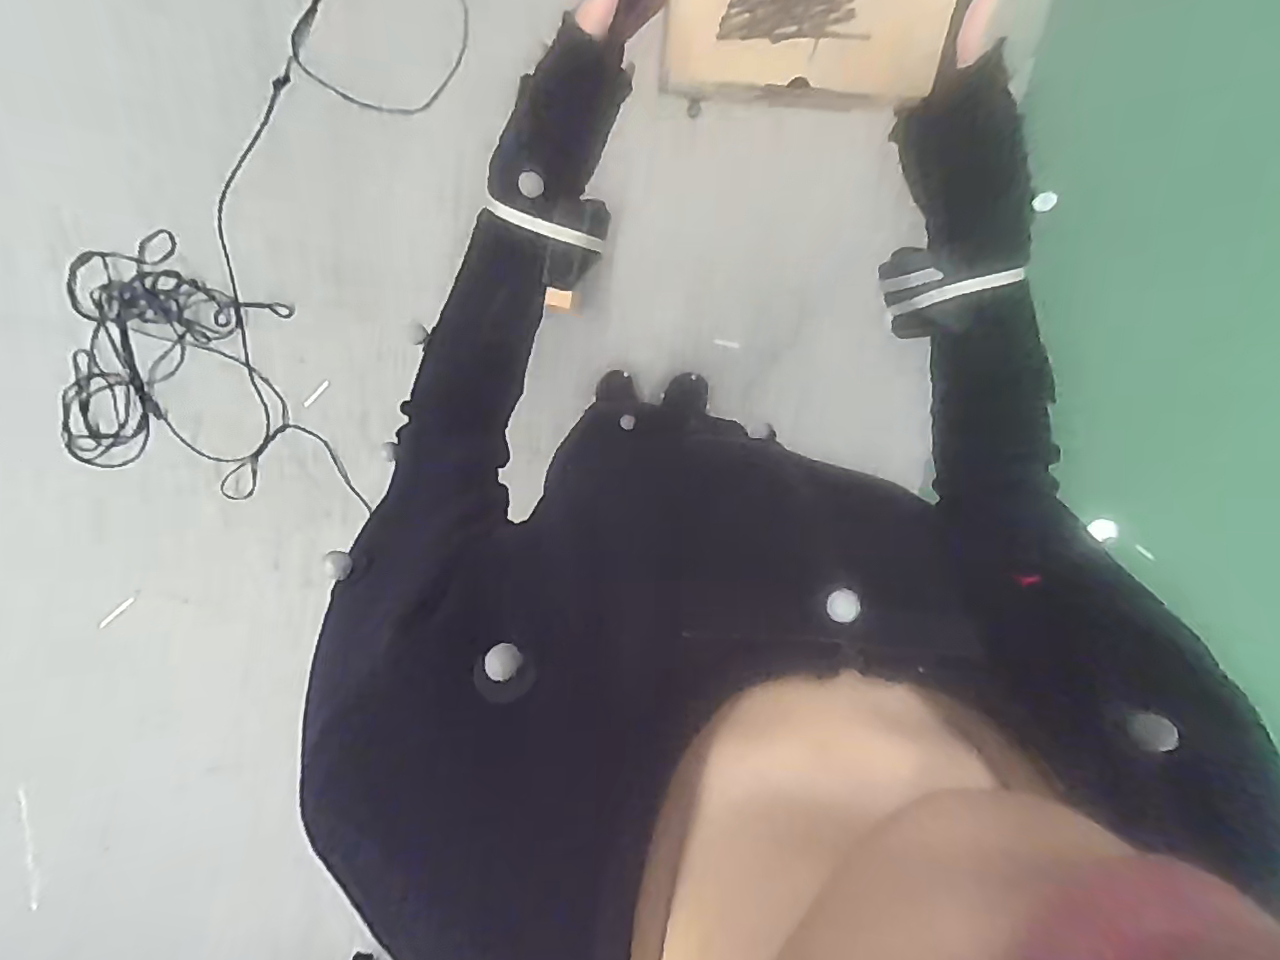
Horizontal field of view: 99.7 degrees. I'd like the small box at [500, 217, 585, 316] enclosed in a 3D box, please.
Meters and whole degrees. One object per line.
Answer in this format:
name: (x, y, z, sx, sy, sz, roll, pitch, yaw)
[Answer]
small box: (-0.227, -0.505, 1.300, 0.168, 0.176, 0.179, 8, 101, -2)
